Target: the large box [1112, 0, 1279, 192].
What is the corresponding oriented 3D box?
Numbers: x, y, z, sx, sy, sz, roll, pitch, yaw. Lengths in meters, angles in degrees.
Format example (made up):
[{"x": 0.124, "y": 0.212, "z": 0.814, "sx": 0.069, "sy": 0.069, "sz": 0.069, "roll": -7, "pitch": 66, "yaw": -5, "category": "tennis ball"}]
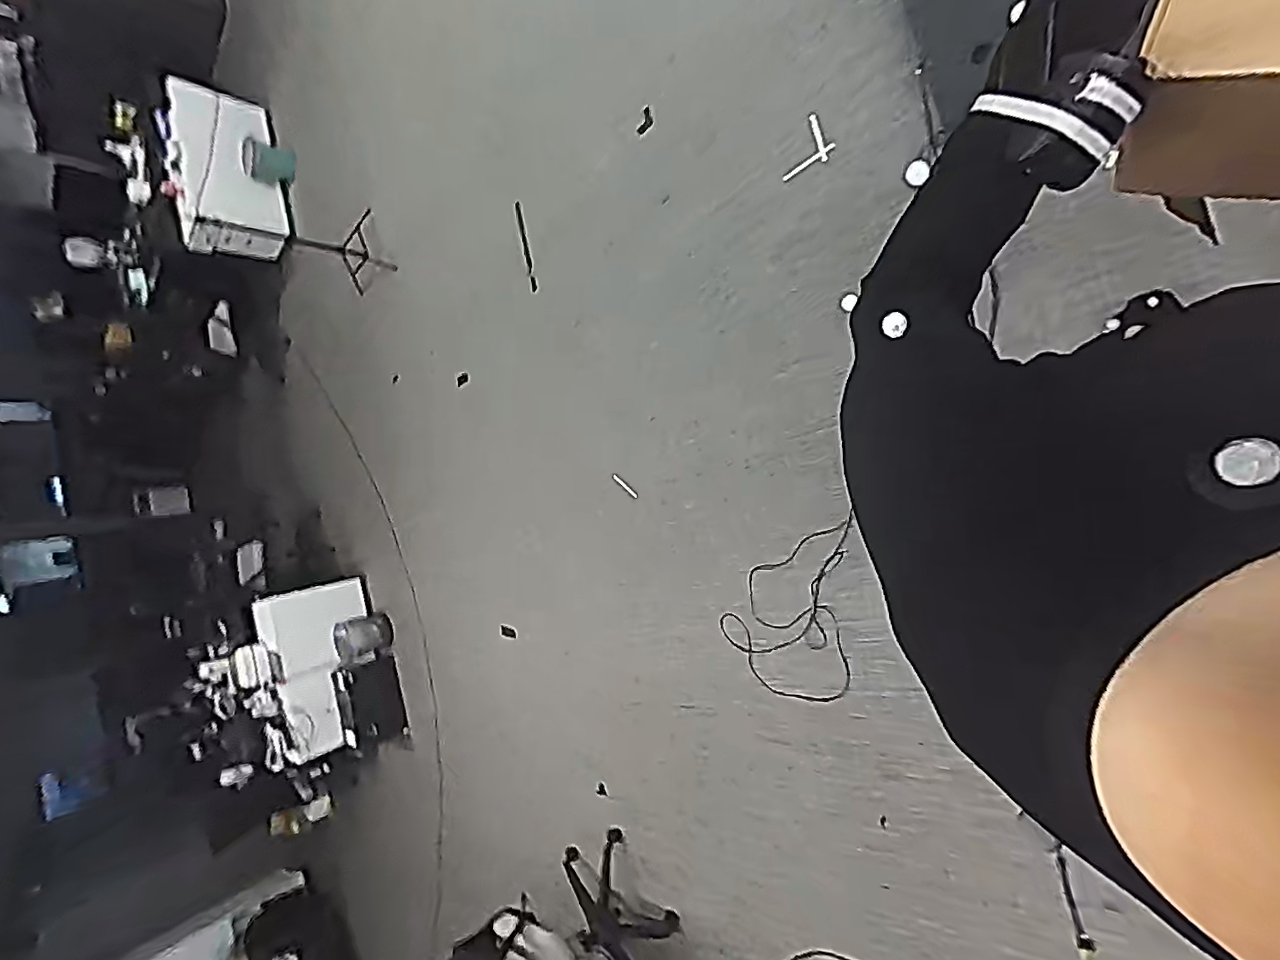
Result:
[{"x": 0.579, "y": -0.368, "z": 0.303, "sx": 0.408, "sy": 0.320, "sz": 0.320, "roll": 23, "pitch": 113, "yaw": 34, "category": "large box"}]
